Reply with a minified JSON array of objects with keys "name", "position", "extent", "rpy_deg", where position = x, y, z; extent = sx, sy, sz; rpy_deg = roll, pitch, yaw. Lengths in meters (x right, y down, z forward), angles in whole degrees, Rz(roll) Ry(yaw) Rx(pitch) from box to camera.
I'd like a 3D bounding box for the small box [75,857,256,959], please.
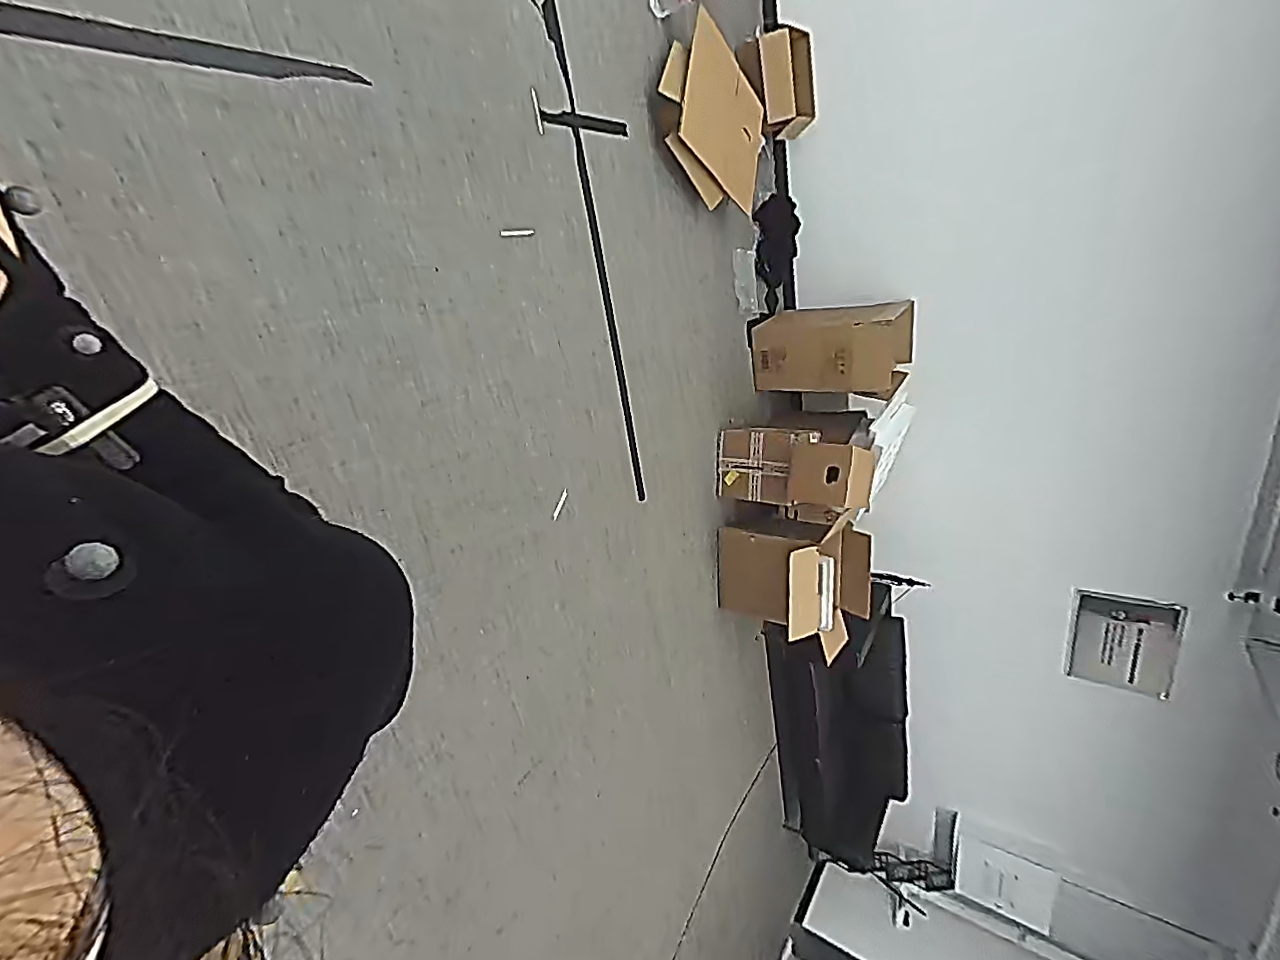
[{"name":"small box","position":[-0.829,0.821,0.949],"extent":[0.179,0.176,0.168],"rpy_deg":[-33,120,-45]}]
